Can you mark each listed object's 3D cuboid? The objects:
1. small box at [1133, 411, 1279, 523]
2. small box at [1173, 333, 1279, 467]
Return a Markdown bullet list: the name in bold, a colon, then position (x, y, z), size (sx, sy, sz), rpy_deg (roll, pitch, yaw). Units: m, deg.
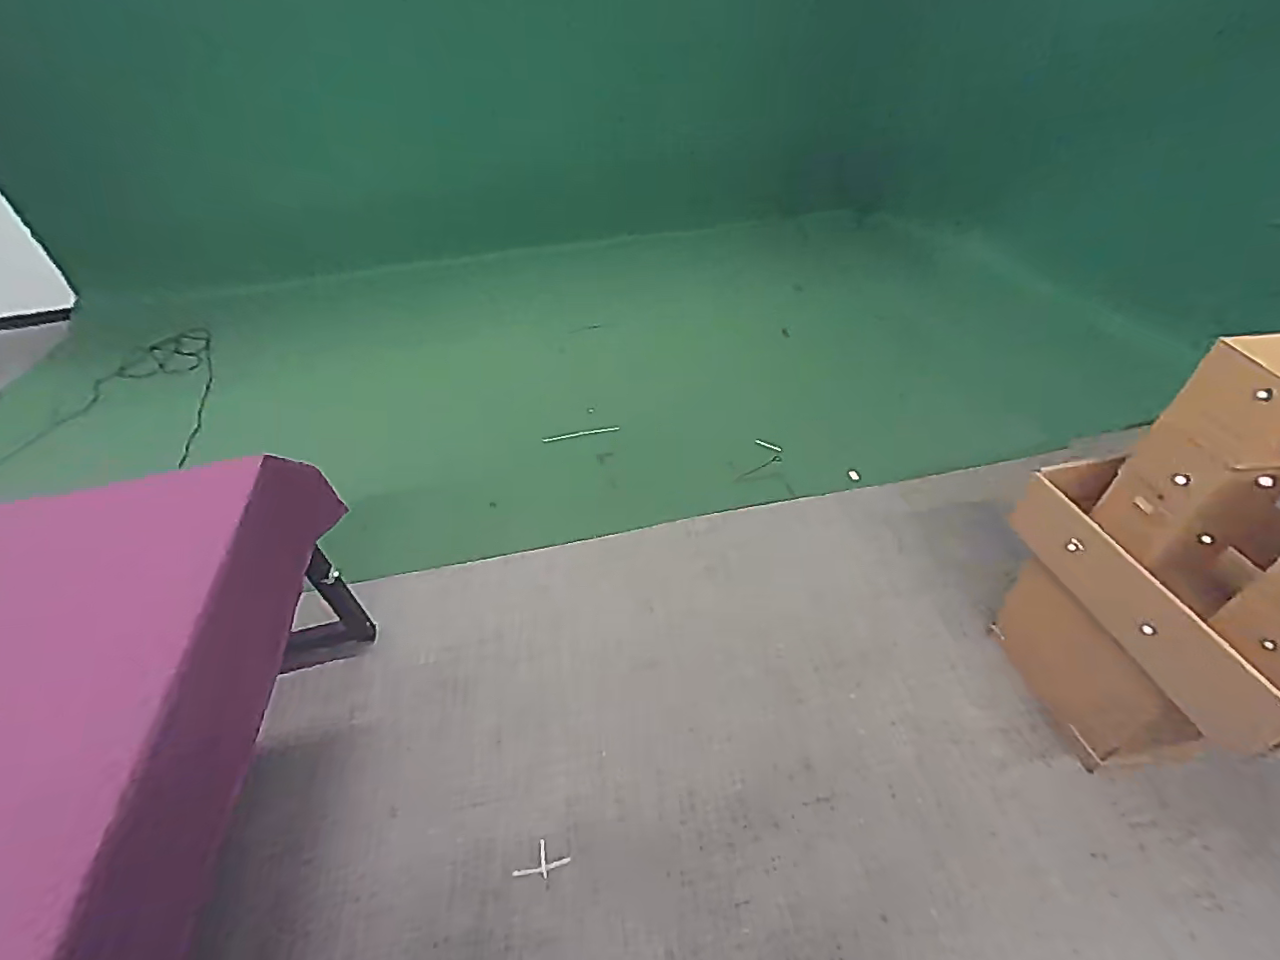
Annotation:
- **small box**: position (1.143, -0.029, 1.074), size (0.179, 0.176, 0.168), rpy_deg (-5, 43, 0)
- **small box**: position (1.128, -0.143, 0.960), size (0.168, 0.176, 0.179), rpy_deg (-3, 45, 2)
